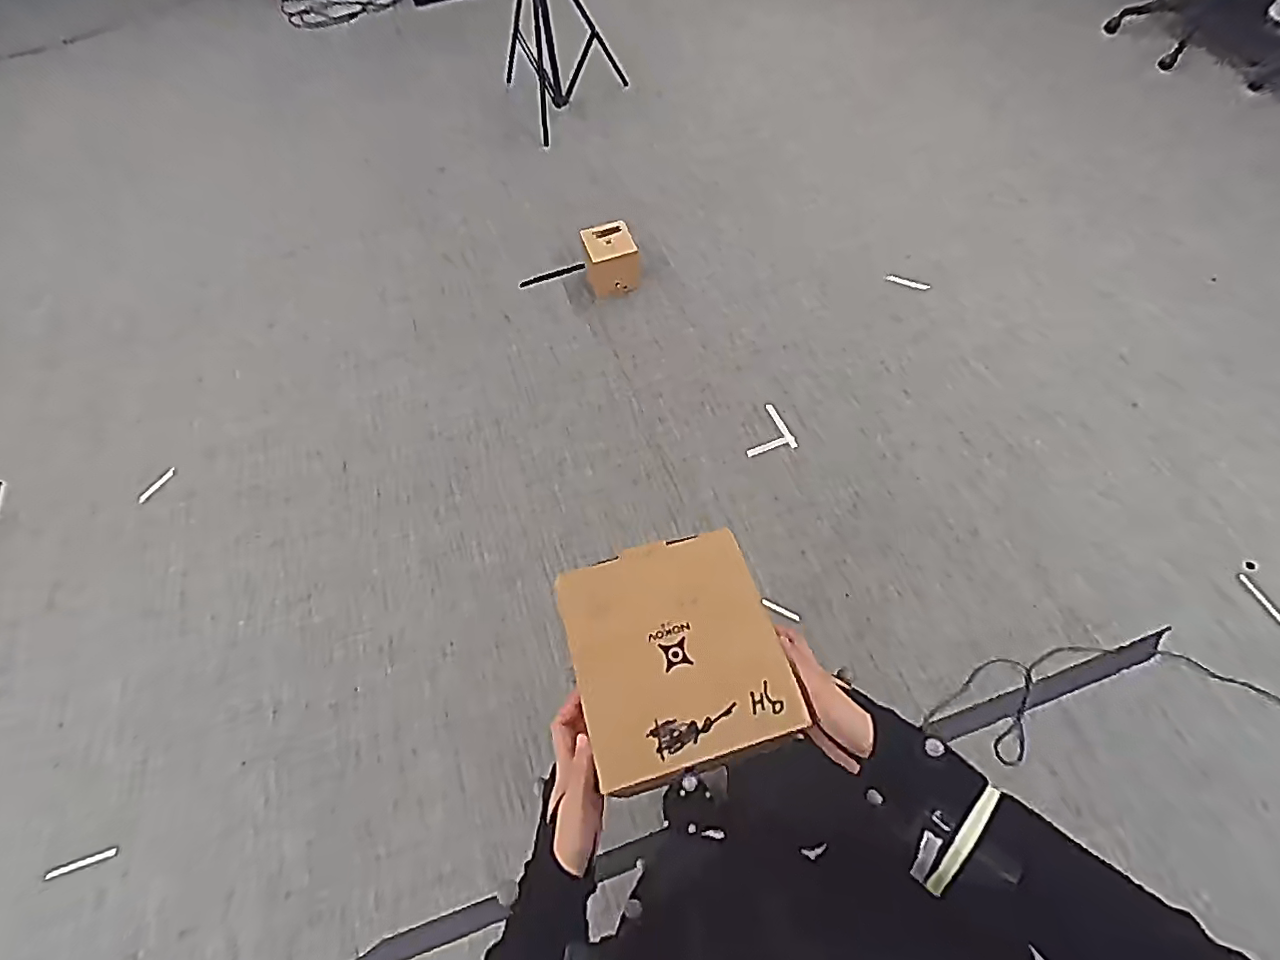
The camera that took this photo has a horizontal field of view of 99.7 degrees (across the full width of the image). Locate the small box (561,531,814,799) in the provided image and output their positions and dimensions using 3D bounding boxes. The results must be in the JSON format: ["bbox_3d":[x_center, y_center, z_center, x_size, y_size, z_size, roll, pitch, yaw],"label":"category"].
[{"bbox_3d":[0.032,0.176,0.503,0.168,0.176,0.179,-15,59,-7],"label":"small box"}]
